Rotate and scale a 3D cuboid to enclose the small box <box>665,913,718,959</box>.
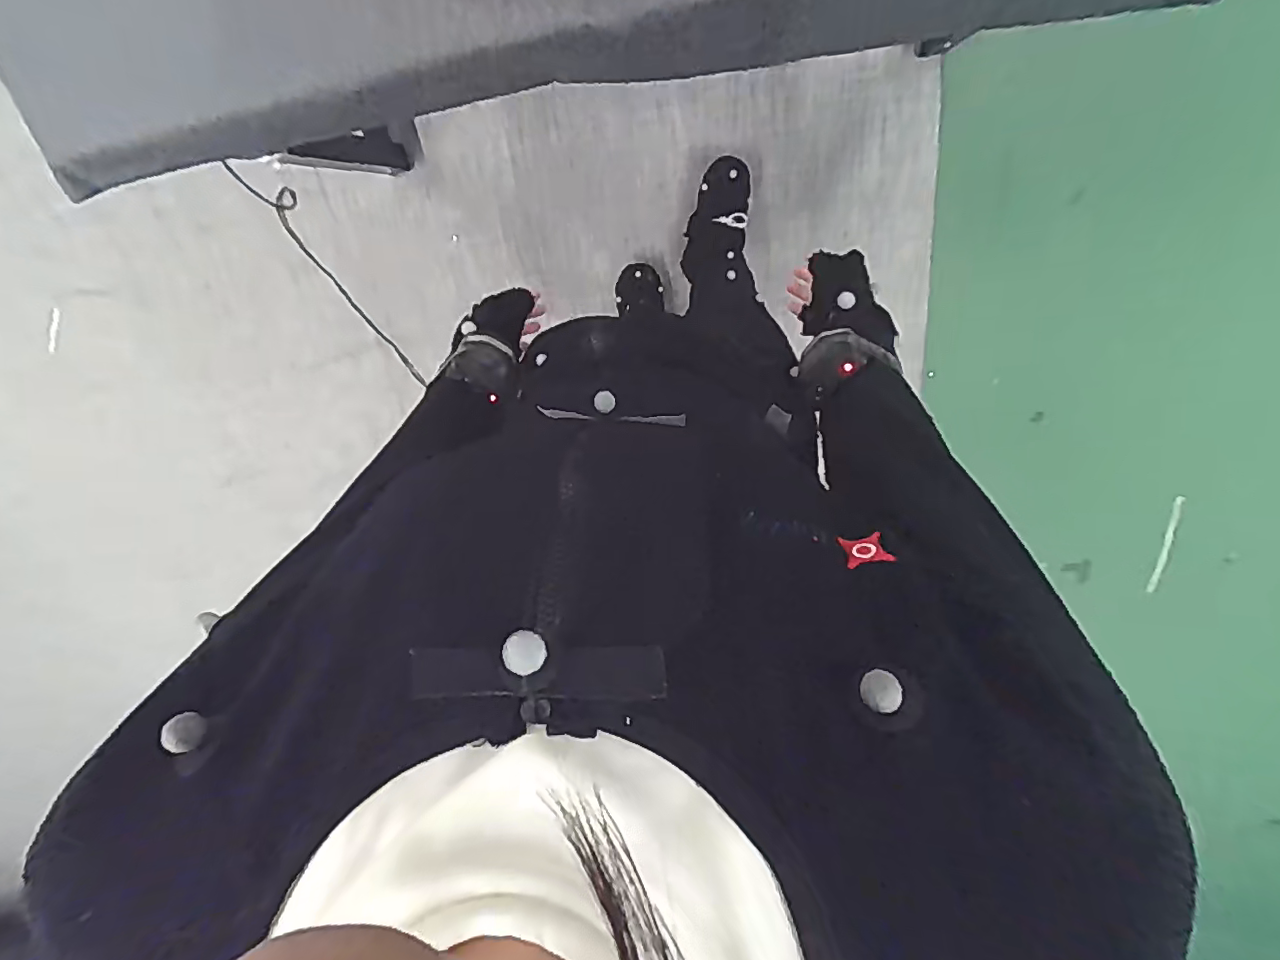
[{"bbox_3d":[0.182,1.651,1.885,0.179,0.176,0.168,-1,112,6],"label":"small box"}]
